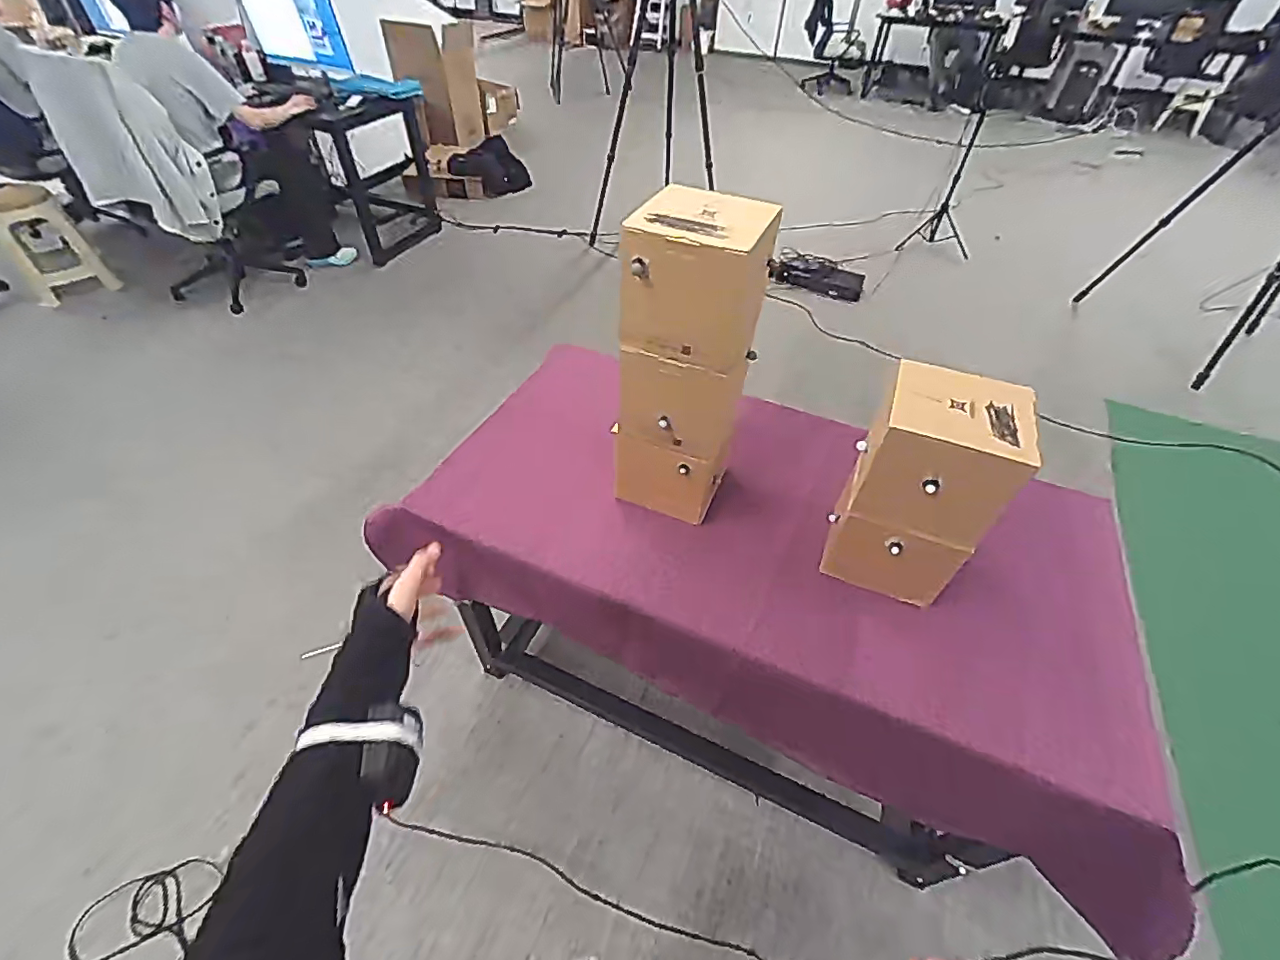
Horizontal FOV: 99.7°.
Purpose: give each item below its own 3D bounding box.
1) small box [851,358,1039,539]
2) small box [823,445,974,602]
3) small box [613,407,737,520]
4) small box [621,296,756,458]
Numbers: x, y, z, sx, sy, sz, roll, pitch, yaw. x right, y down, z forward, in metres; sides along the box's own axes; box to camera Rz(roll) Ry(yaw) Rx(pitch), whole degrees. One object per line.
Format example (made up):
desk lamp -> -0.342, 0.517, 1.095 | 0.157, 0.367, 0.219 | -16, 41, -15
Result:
small box -> 0.421, -0.041, 0.764 | 0.179, 0.176, 0.168 | 18, 49, 16
small box -> 0.417, 0.072, 0.883 | 0.179, 0.176, 0.168 | 20, 50, 15
small box -> 0.062, -0.052, 0.992 | 0.179, 0.176, 0.168 | 18, 49, 14
small box -> 0.074, -0.166, 0.873 | 0.168, 0.176, 0.179 | 18, 48, 14
